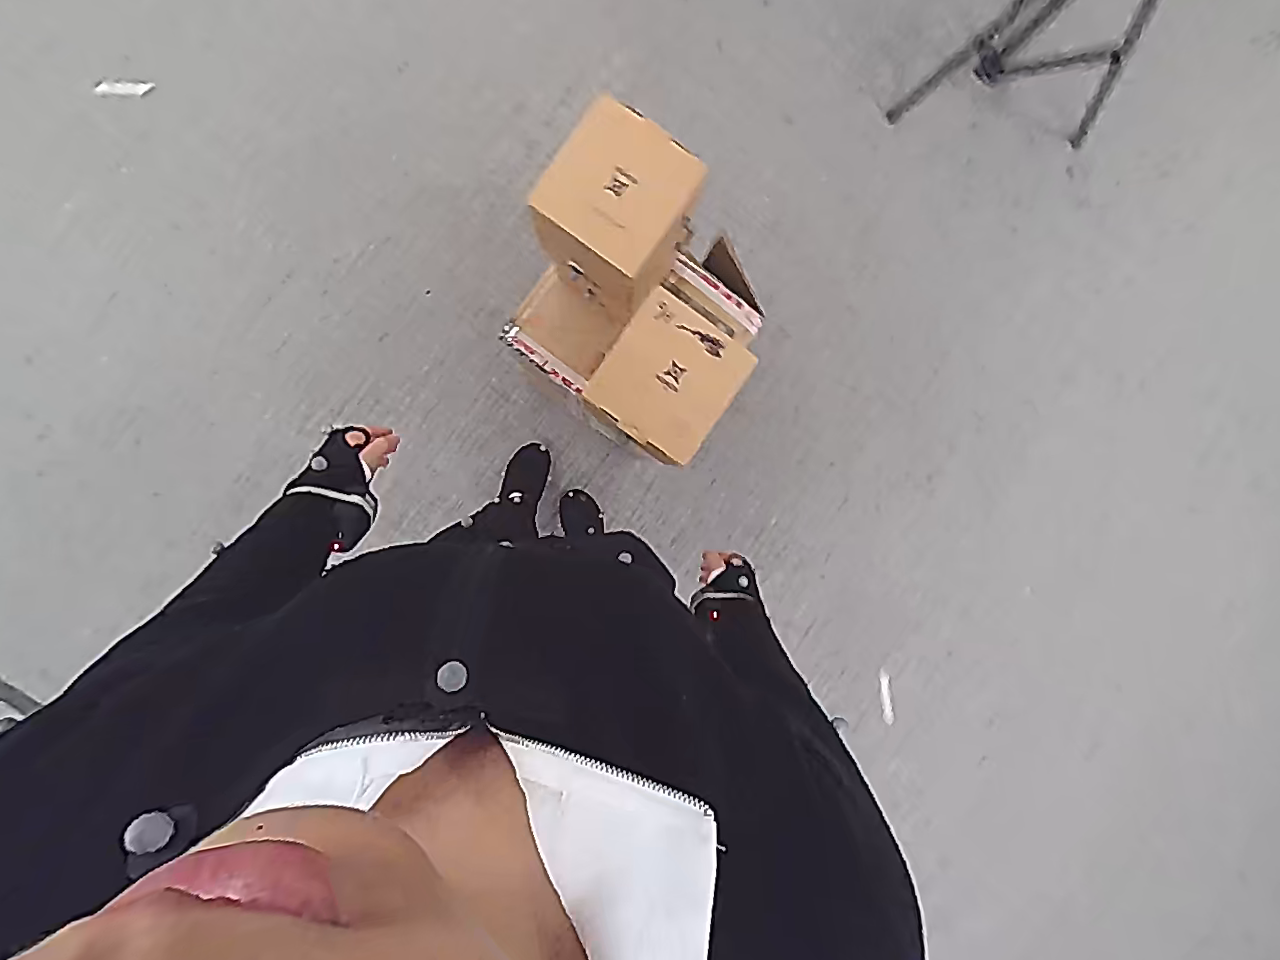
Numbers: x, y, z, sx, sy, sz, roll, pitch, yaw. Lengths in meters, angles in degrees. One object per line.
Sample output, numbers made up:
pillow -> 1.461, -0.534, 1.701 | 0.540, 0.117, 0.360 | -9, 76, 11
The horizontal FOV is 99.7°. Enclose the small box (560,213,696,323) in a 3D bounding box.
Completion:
small box -> -0.030, -0.400, 0.922 | 0.168, 0.176, 0.179 | 36, 90, -4

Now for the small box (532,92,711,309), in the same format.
small box -> -0.028, -0.373, 0.760 | 0.168, 0.176, 0.179 | 35, 91, -3

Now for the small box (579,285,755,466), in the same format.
small box -> 0.032, -0.137, 0.773 | 0.168, 0.176, 0.179 | 35, 90, -6
